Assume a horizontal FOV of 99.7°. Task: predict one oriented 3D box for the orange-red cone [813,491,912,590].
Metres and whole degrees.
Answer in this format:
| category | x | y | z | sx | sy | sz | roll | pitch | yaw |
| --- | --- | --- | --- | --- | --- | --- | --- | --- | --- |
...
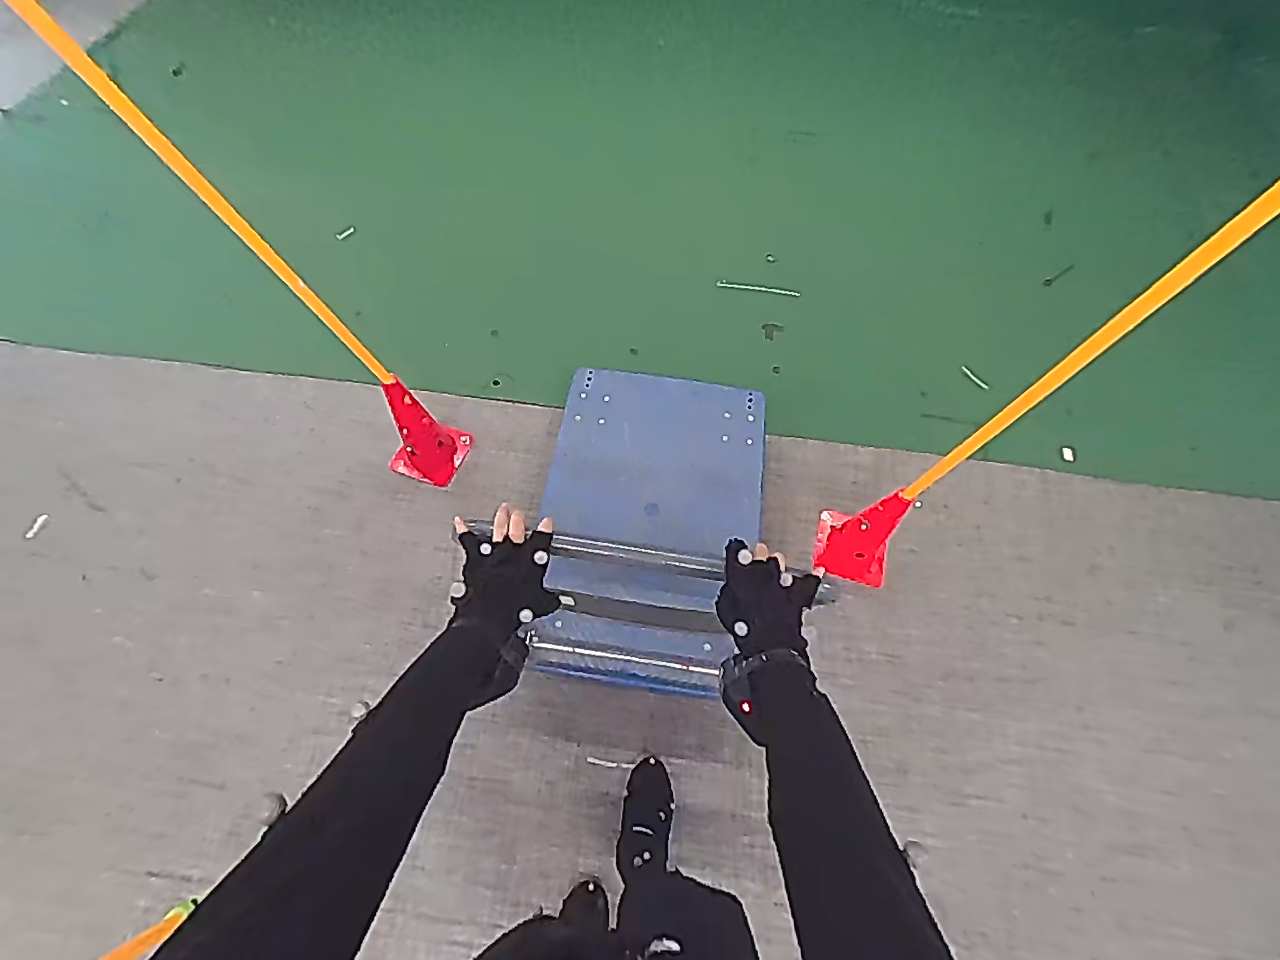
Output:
| category | x | y | z | sx | sy | sz | roll | pitch | yaw |
| --- | --- | --- | --- | --- | --- | --- | --- | --- | --- |
| orange-red cone | 0.616 | 0.126 | 1.416 | 0.198 | 0.360 | 0.199 | 17 | 63 | 7 |
